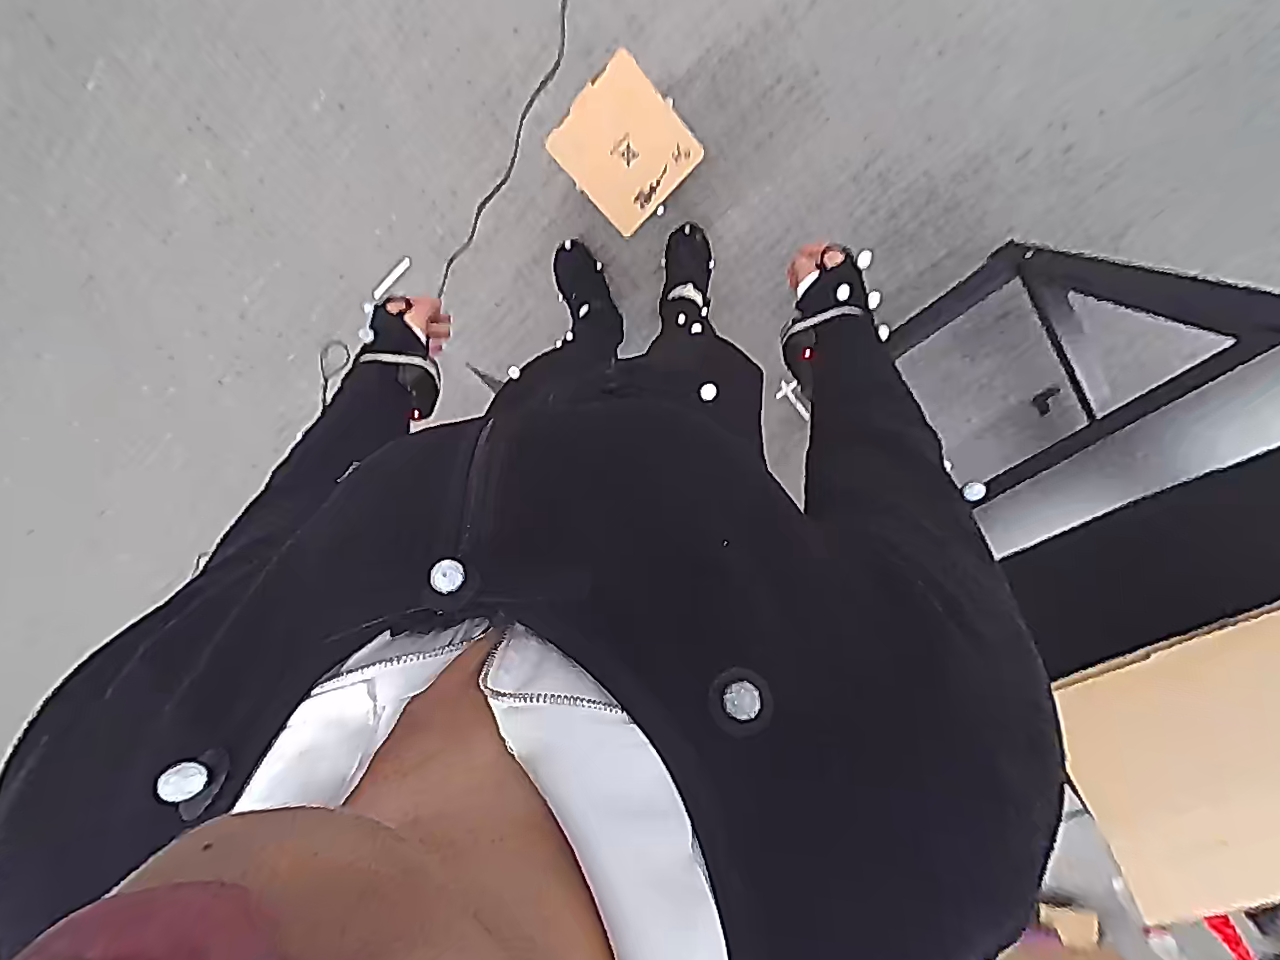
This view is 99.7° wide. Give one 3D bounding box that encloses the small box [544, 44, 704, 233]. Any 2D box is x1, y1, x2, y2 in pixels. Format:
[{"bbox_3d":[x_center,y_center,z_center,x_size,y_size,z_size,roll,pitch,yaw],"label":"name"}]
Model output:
[{"bbox_3d":[-0.022,-0.518,0.846,0.168,0.176,0.179,-39,111,21],"label":"small box"}]
